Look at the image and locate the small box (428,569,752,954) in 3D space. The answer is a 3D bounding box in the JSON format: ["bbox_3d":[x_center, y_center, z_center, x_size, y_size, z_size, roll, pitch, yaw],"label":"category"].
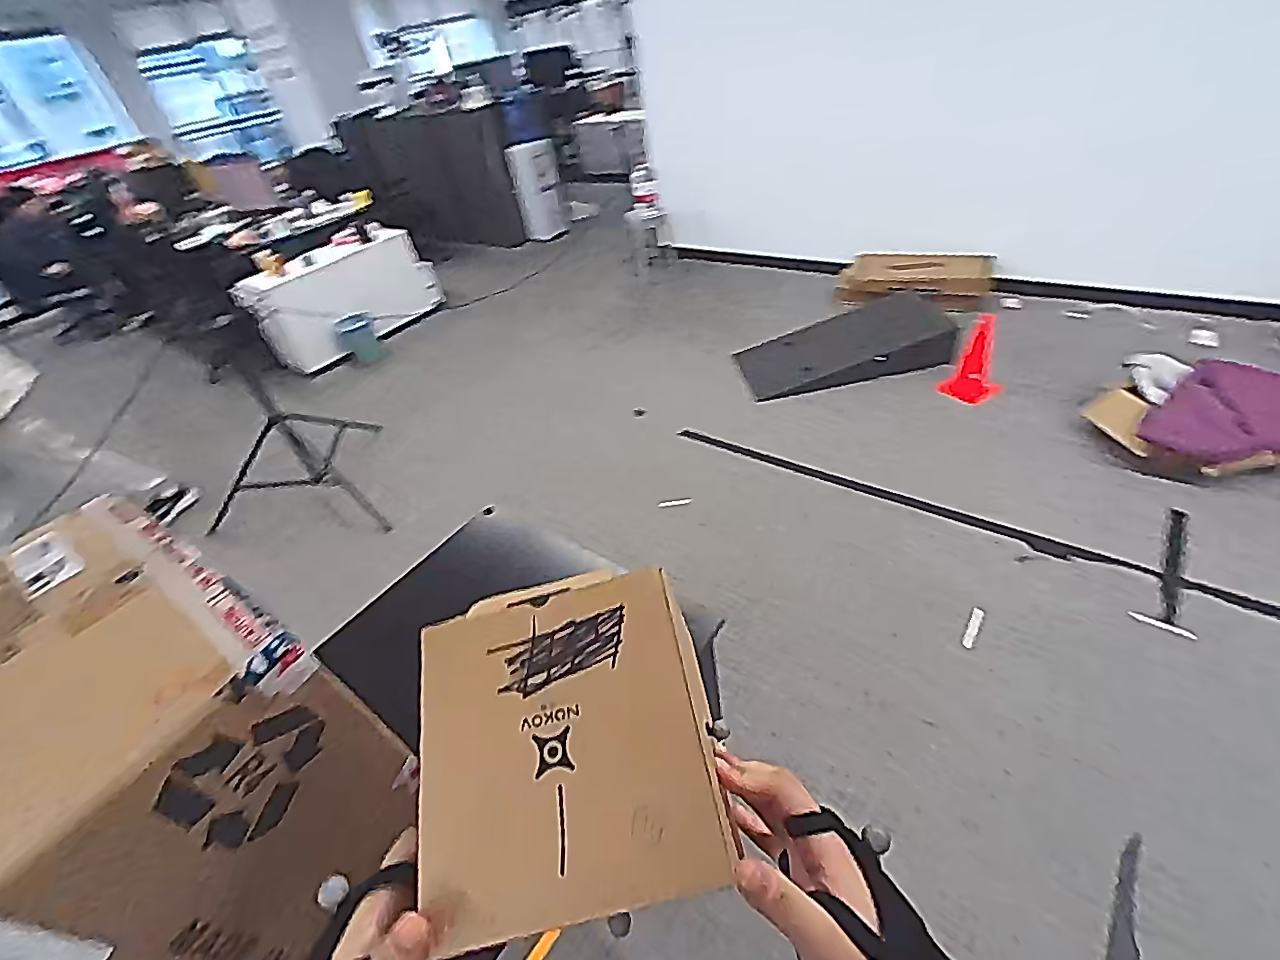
[{"bbox_3d":[-0.026,0.191,0.379,0.168,0.176,0.179,-17,55,4],"label":"small box"}]
